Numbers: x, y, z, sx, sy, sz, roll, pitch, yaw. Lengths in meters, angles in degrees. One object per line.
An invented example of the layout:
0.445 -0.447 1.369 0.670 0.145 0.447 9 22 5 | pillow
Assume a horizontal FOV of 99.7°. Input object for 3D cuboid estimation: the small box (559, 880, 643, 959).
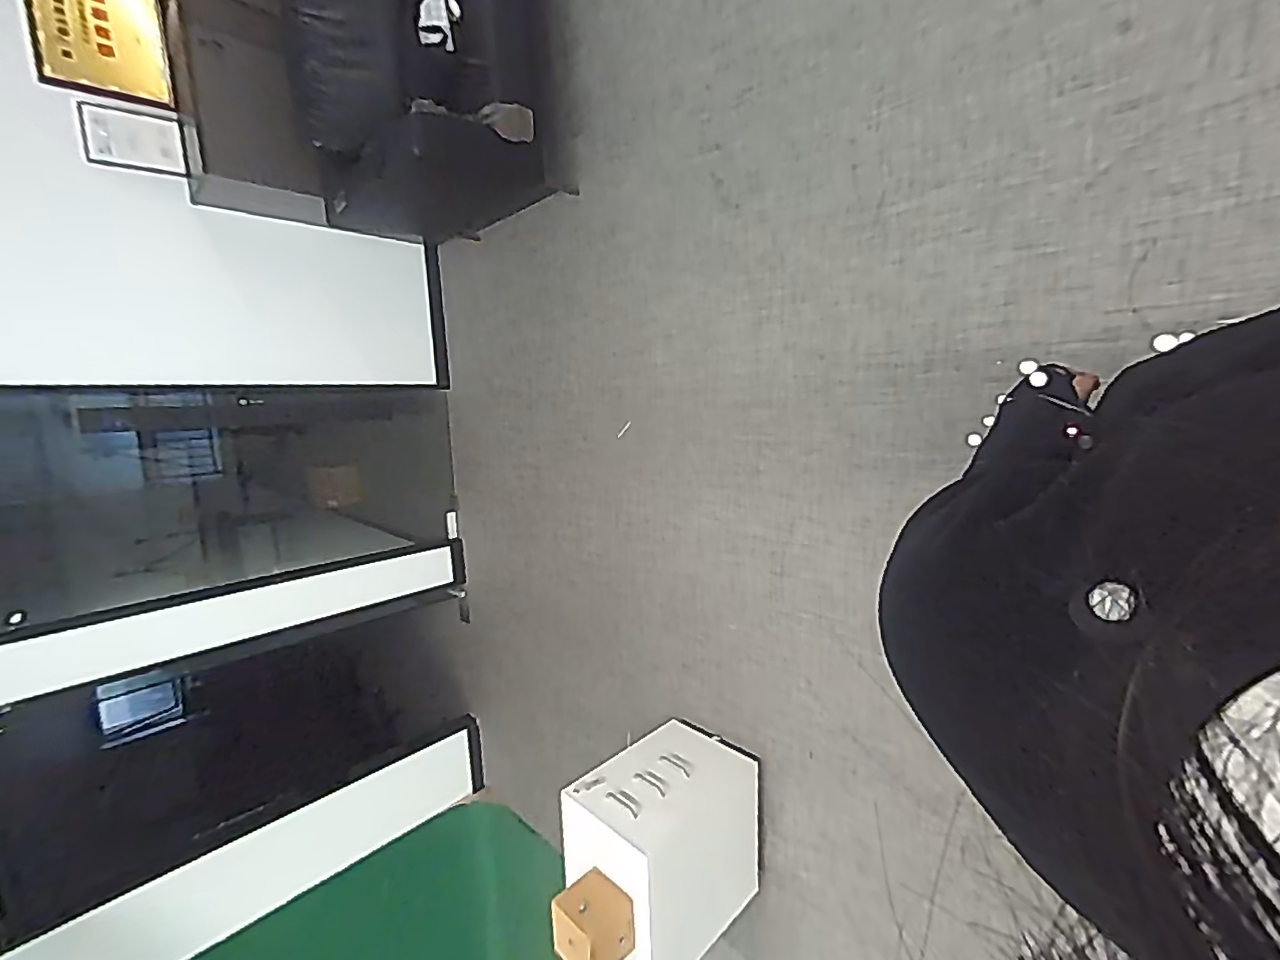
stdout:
-0.111 1.298 1.546 0.179 0.176 0.168 3 99 45 | small box
